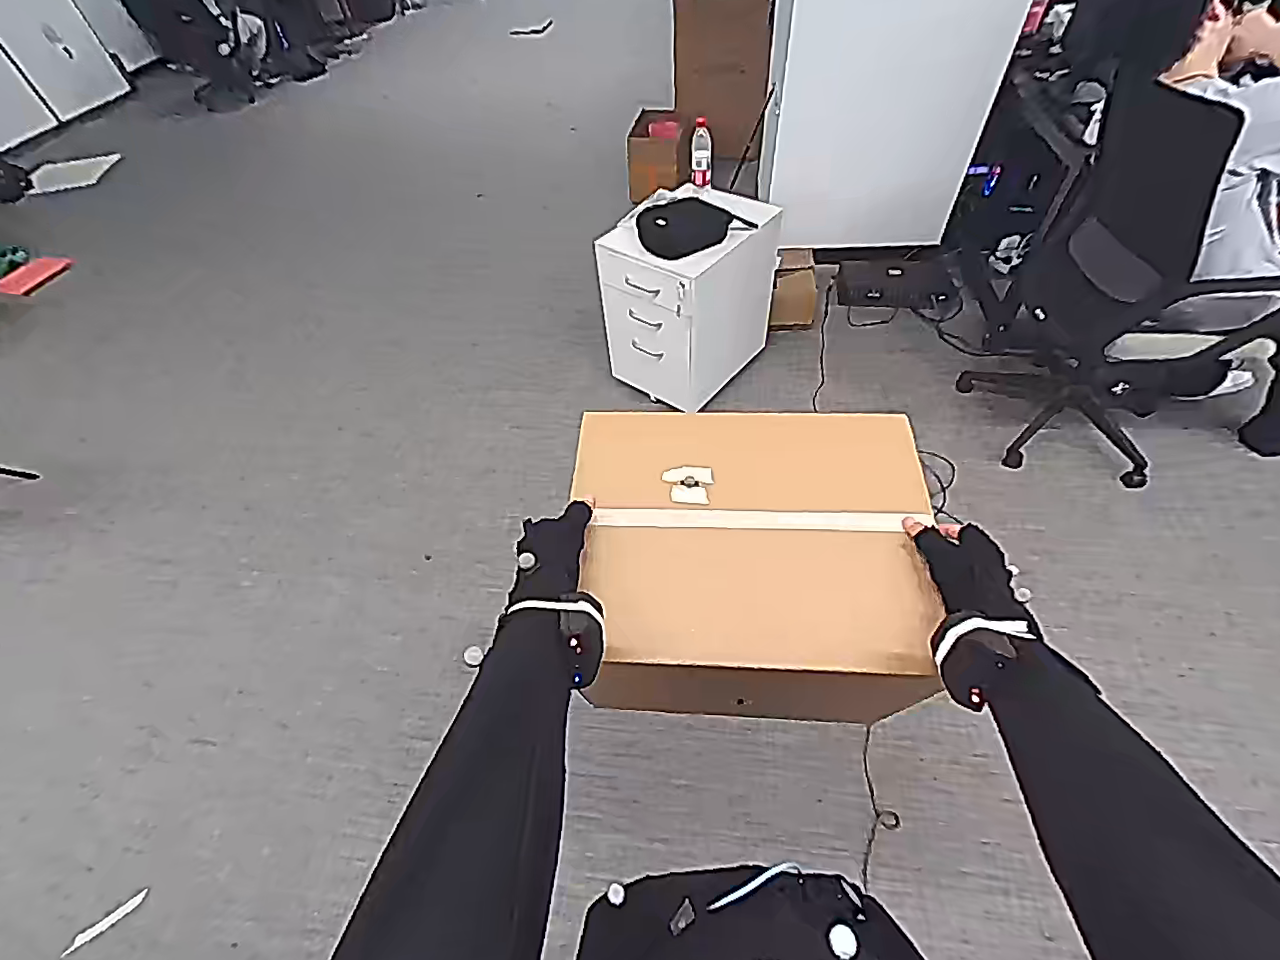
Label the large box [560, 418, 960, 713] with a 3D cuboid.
[{"bbox_3d":[0.134,0.131,0.741,0.408,0.320,0.320,0,58,5],"label":"large box"}]
